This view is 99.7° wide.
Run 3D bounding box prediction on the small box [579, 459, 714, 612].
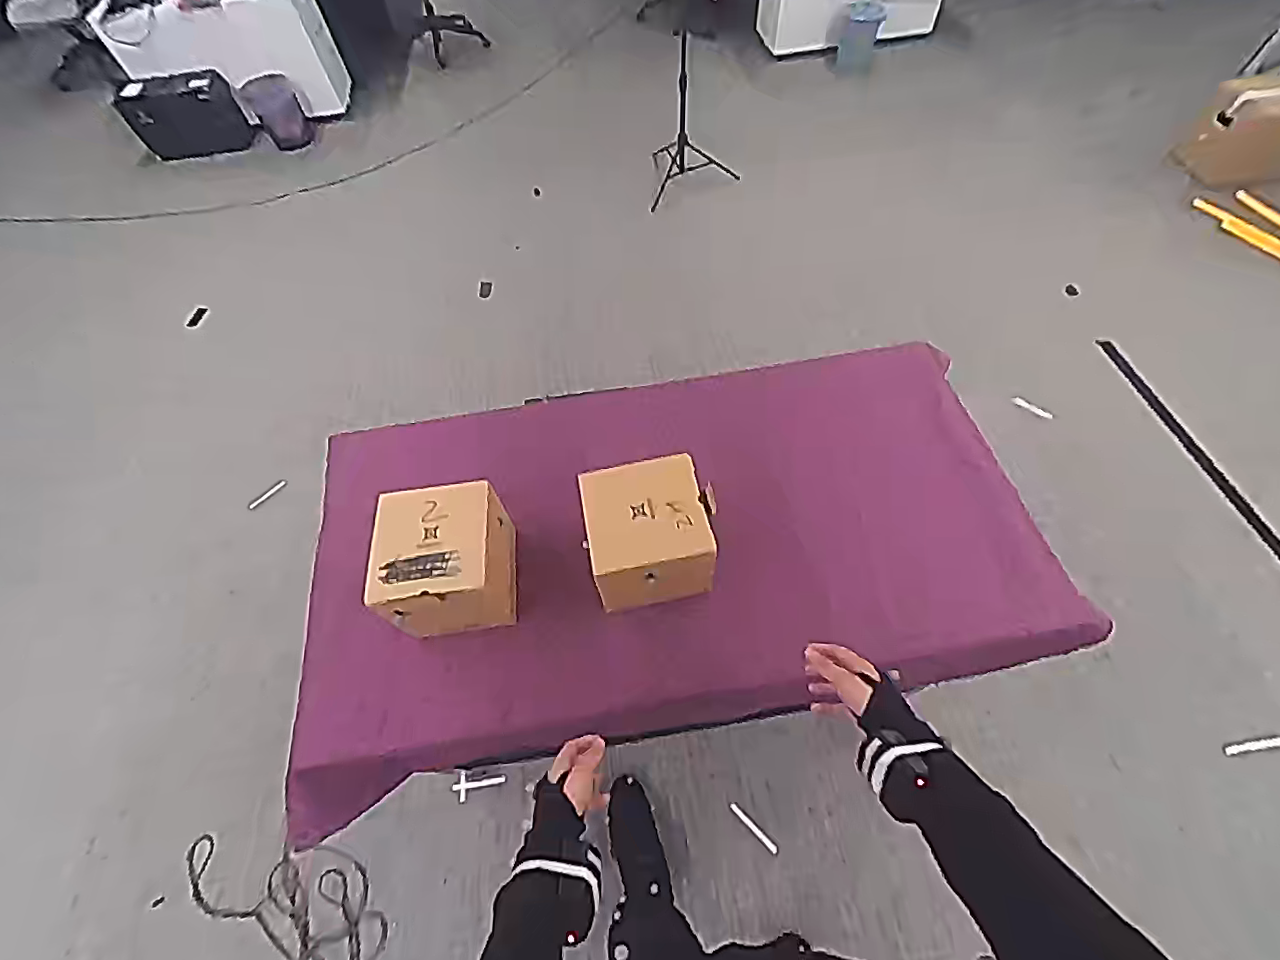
[{"bbox_3d":[0.011,0.093,0.848,0.179,0.176,0.168,-11,59,-3],"label":"small box"}]
